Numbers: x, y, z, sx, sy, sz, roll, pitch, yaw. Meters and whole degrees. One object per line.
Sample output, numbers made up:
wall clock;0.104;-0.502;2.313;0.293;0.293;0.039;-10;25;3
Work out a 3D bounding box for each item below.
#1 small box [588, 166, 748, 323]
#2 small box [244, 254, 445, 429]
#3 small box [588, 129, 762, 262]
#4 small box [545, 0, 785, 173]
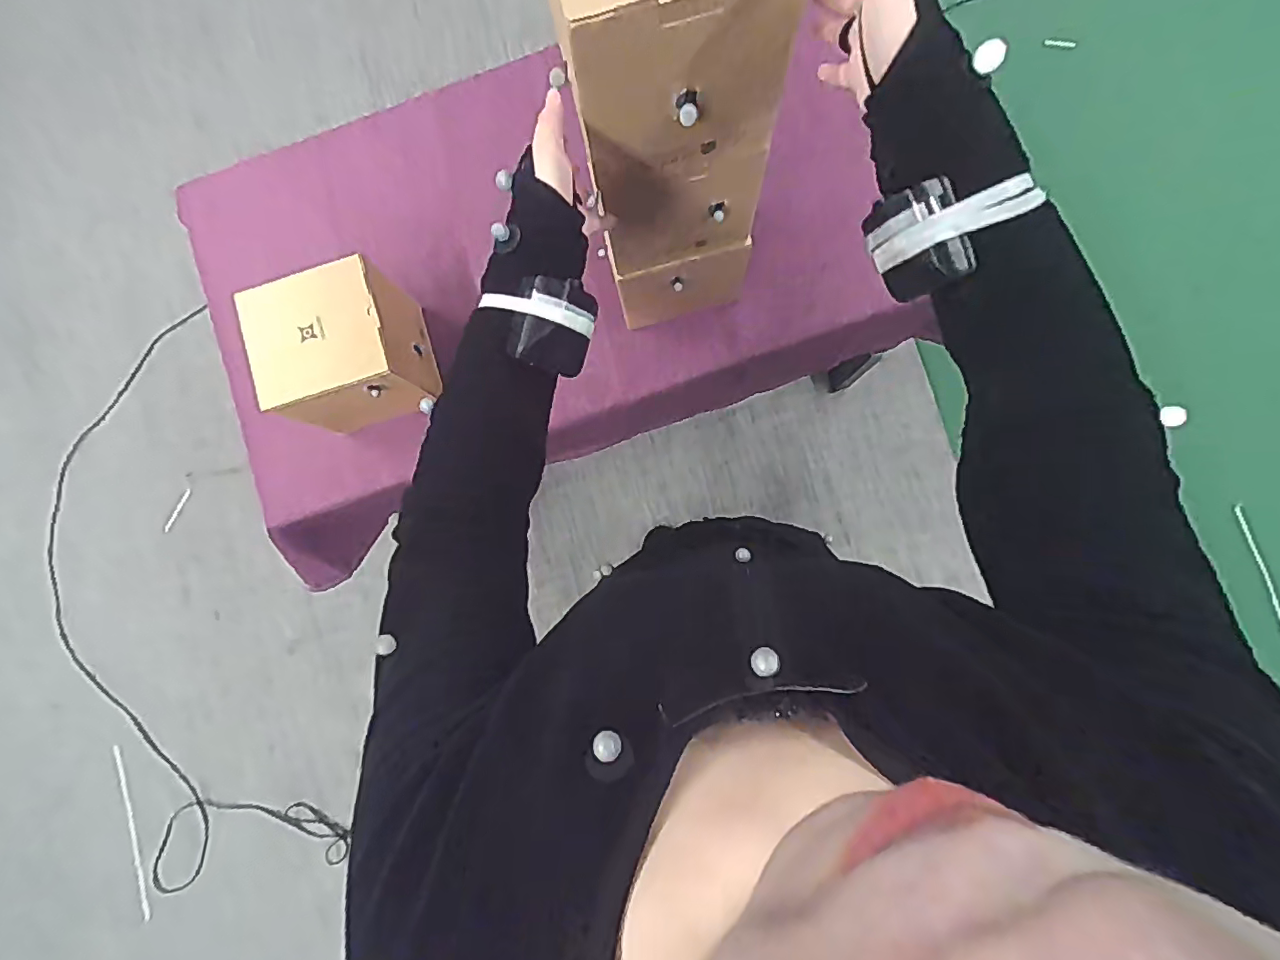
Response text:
small box;0.041;-0.339;0.755;0.179;0.176;0.168;-13;84;3
small box;-0.411;-0.185;0.776;0.179;0.176;0.168;-18;83;2
small box;0.025;-0.364;0.594;0.168;0.176;0.179;-13;83;3
small box;0.010;-0.380;0.431;0.168;0.176;0.179;-14;84;2
